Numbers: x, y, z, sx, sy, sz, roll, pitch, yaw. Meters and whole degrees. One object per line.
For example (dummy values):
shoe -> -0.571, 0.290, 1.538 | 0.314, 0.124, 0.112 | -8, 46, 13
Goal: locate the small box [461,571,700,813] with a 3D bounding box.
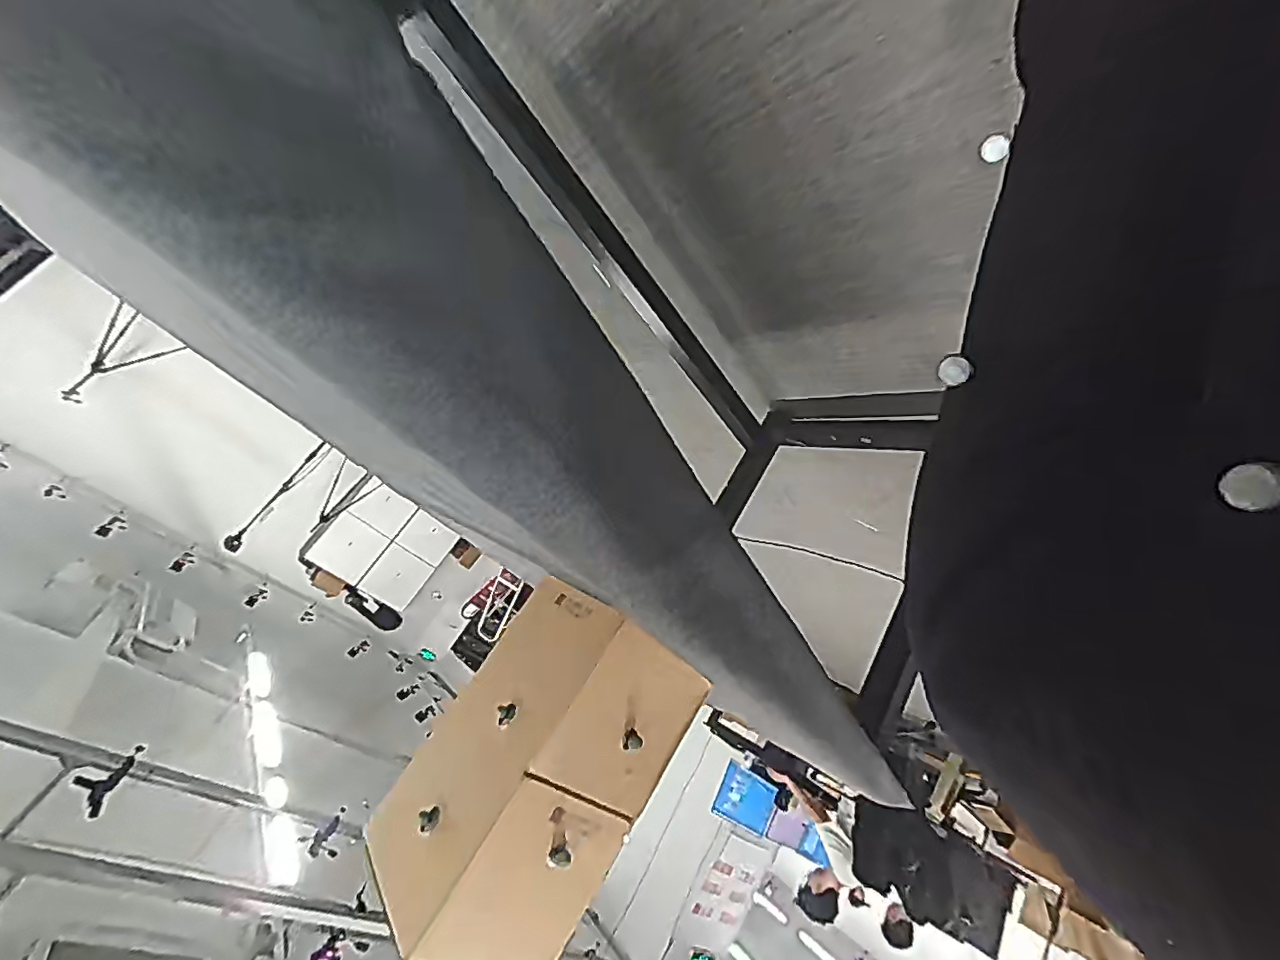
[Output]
small box -> -0.062, 0.232, 0.619 | 0.168, 0.176, 0.179 | 11, 151, 53

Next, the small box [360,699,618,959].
small box -> -0.156, 0.360, 0.572 | 0.179, 0.176, 0.168 | 11, 150, 52
